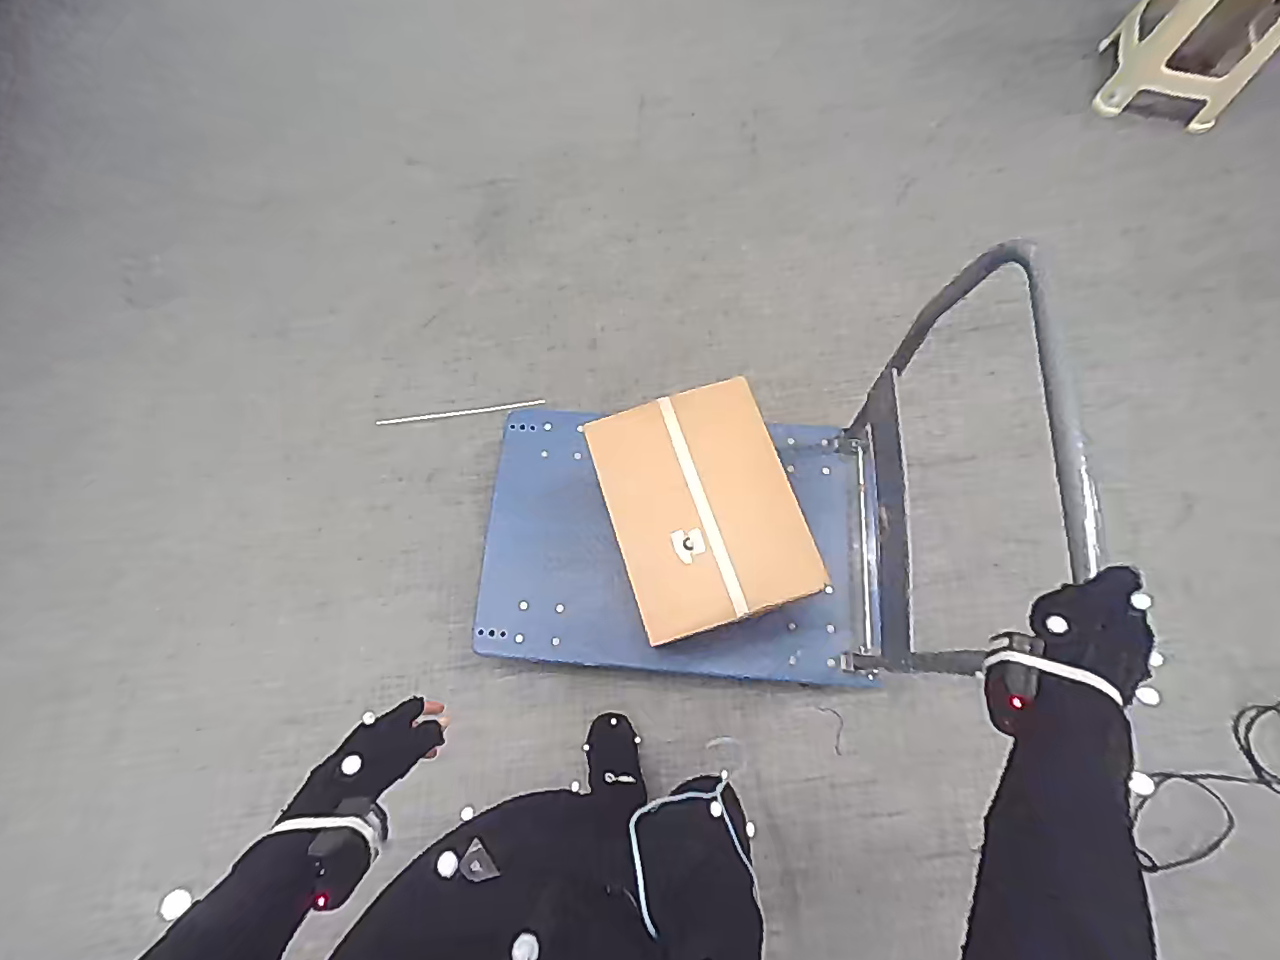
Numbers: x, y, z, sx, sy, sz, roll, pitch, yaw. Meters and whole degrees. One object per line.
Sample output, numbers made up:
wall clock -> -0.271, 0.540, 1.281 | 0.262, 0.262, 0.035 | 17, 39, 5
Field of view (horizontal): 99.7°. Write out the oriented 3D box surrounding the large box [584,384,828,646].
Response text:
large box -> 0.107, 0.086, 1.080 | 0.320, 0.320, 0.408 | -18, 73, -3
